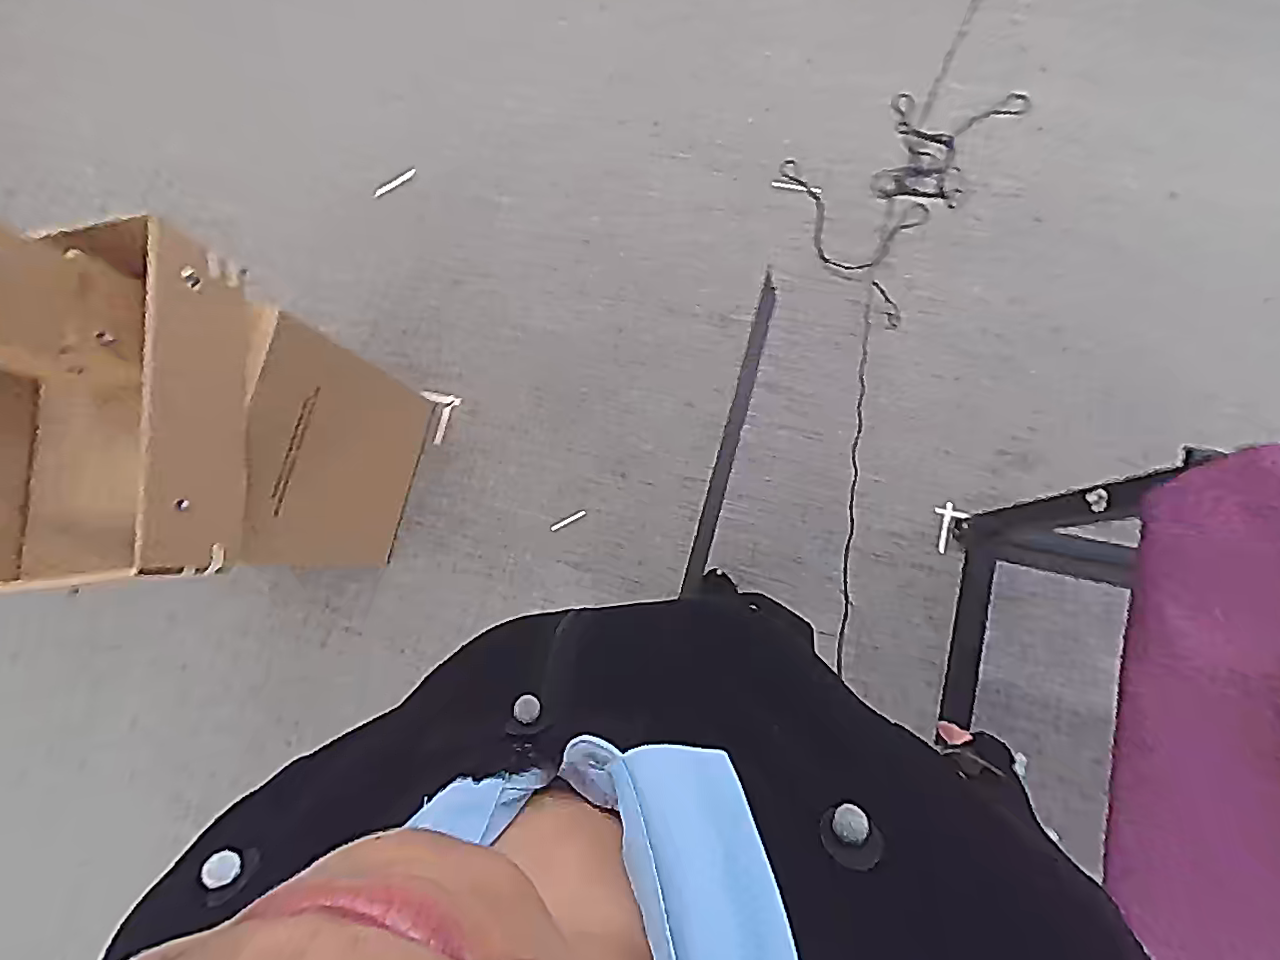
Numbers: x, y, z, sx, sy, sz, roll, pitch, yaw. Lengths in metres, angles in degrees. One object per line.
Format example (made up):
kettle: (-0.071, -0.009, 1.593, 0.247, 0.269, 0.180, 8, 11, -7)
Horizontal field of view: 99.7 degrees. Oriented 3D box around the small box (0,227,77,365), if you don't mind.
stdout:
small box: (-0.999, -0.286, 0.793, 0.168, 0.176, 0.179, 6, 83, 7)
